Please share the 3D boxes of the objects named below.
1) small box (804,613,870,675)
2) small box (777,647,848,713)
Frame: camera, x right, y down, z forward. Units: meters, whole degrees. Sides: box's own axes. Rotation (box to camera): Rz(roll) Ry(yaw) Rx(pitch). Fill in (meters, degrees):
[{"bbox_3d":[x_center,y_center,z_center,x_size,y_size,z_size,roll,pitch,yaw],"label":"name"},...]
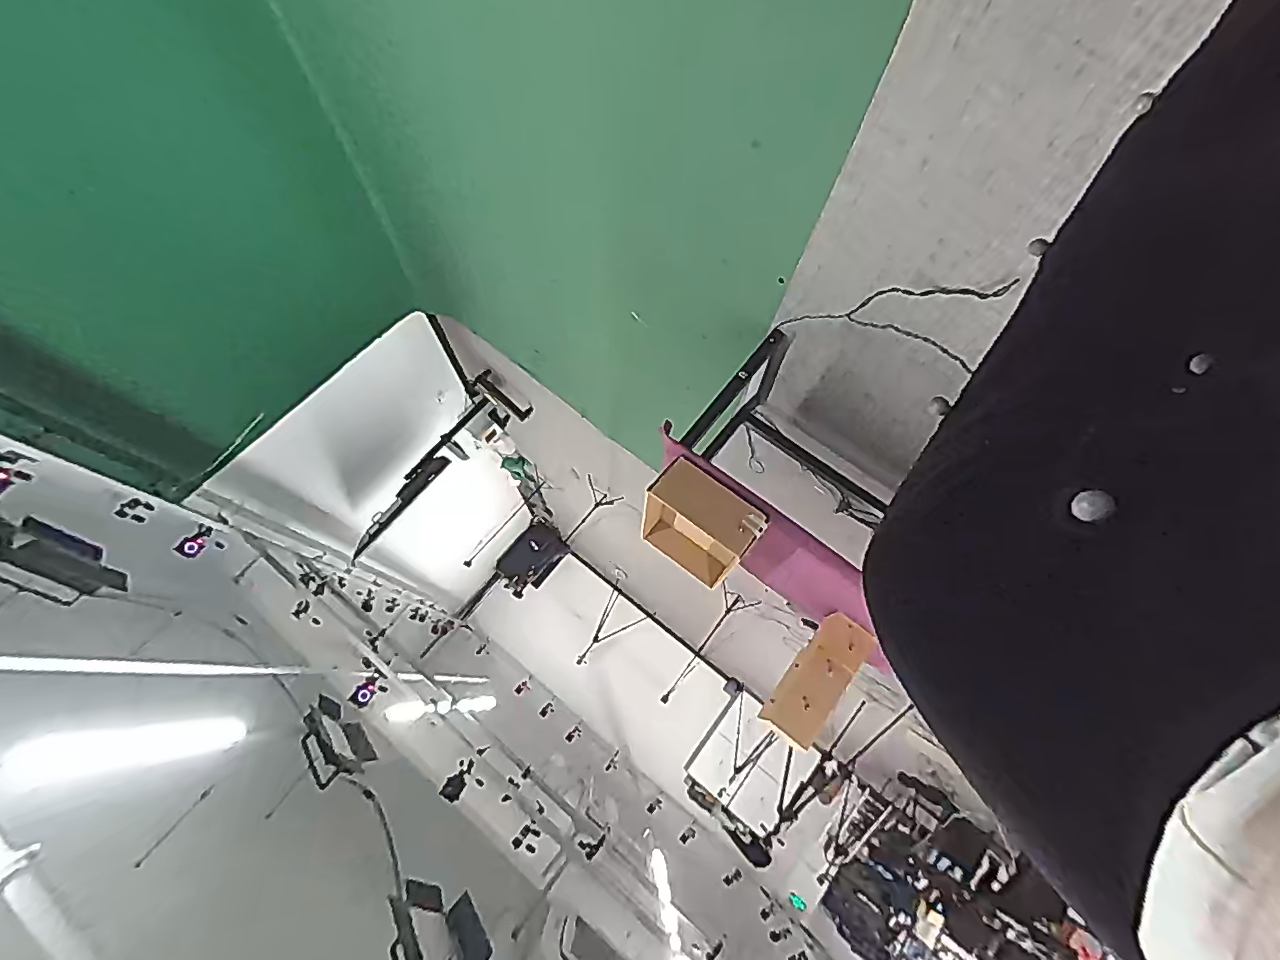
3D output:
[{"bbox_3d":[0.763,0.636,2.097,0.168,0.176,0.179,36,162,13],"label":"small box"},{"bbox_3d":[0.655,0.752,2.051,0.168,0.176,0.179,38,162,9],"label":"small box"}]
